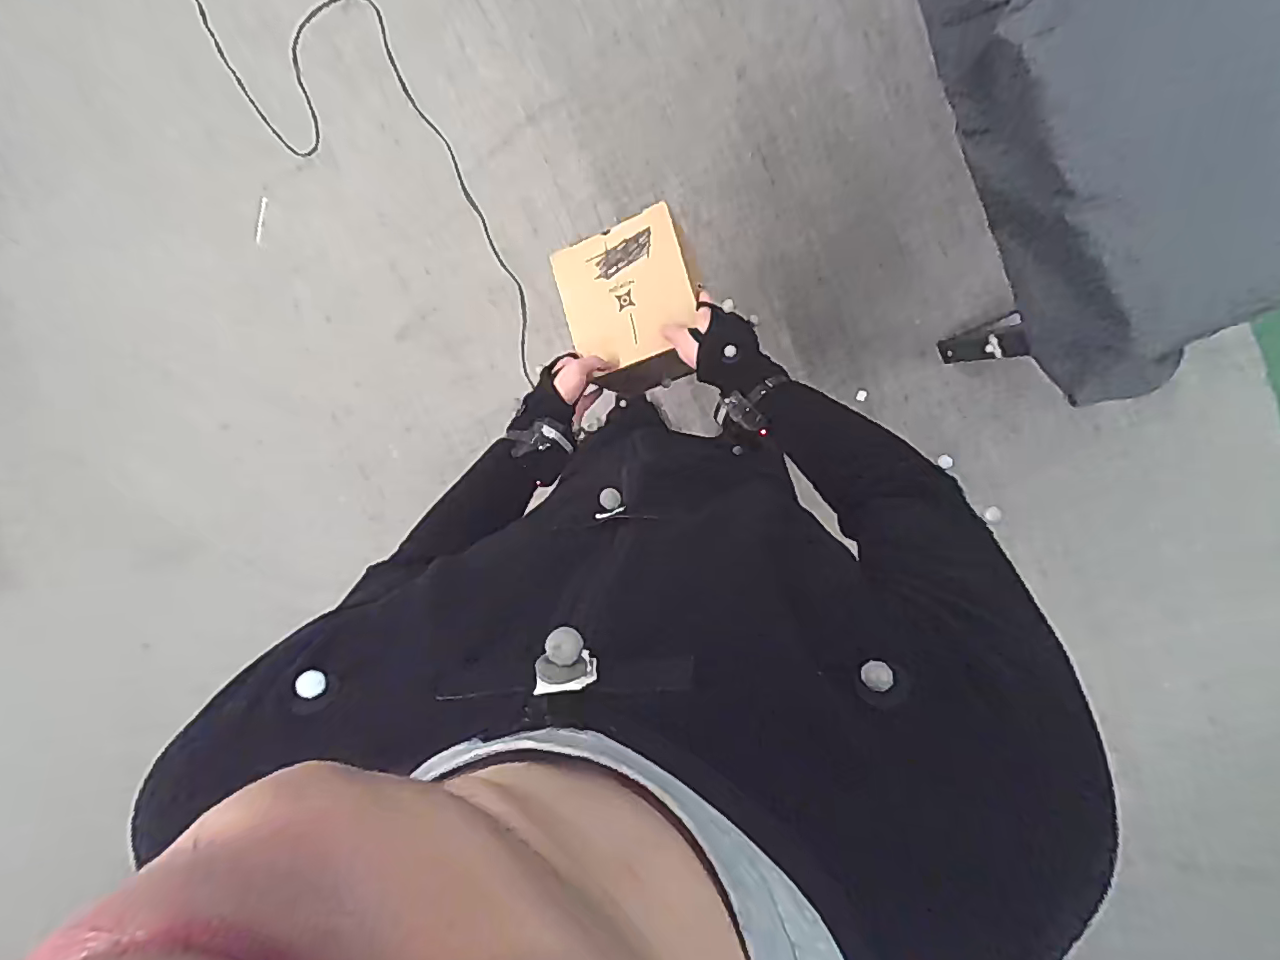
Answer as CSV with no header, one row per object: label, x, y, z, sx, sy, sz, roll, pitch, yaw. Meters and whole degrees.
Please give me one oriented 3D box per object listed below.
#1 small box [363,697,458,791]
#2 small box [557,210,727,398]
small box,-0.672,0.780,1.614,0.179,0.176,0.168,-24,94,15
small box,0.011,-0.230,0.757,0.168,0.176,0.179,-18,86,18
